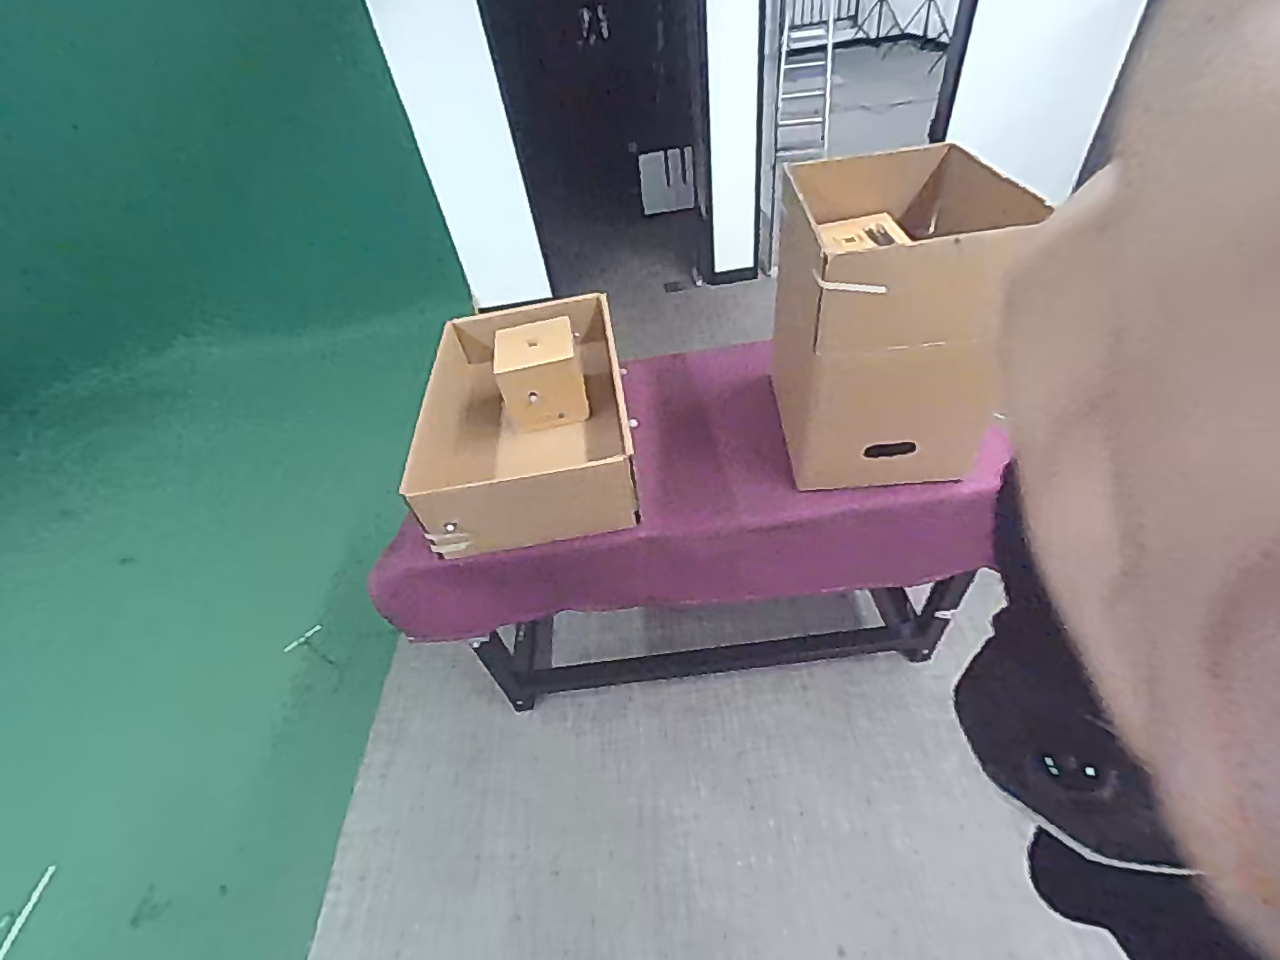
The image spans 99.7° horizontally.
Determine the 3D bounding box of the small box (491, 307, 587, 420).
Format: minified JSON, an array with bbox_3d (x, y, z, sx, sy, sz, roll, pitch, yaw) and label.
[{"bbox_3d":[-0.218,-0.250,1.193,0.168,0.176,0.179,-13,46,0],"label":"small box"}]
